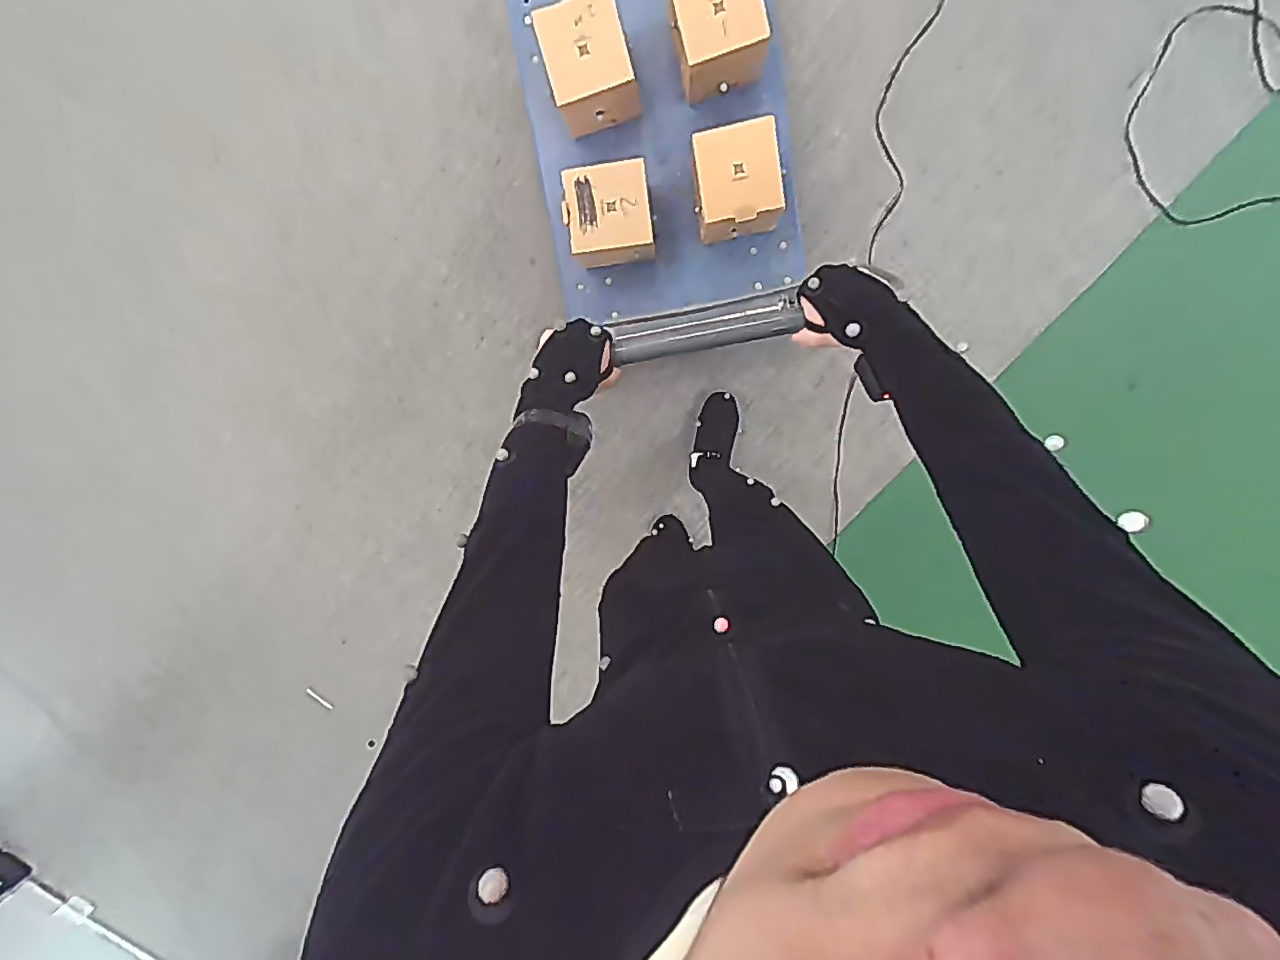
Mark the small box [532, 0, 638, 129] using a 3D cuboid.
[{"bbox_3d":[-0.105,-0.871,1.133,0.168,0.176,0.179,-15,101,6],"label":"small box"}]

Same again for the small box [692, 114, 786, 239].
[{"bbox_3d":[0.207,-0.642,1.164,0.168,0.176,0.179,-10,102,6],"label":"small box"}]

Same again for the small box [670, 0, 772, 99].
[{"bbox_3d":[0.158,-0.930,1.104,0.168,0.176,0.179,-15,102,7],"label":"small box"}]
